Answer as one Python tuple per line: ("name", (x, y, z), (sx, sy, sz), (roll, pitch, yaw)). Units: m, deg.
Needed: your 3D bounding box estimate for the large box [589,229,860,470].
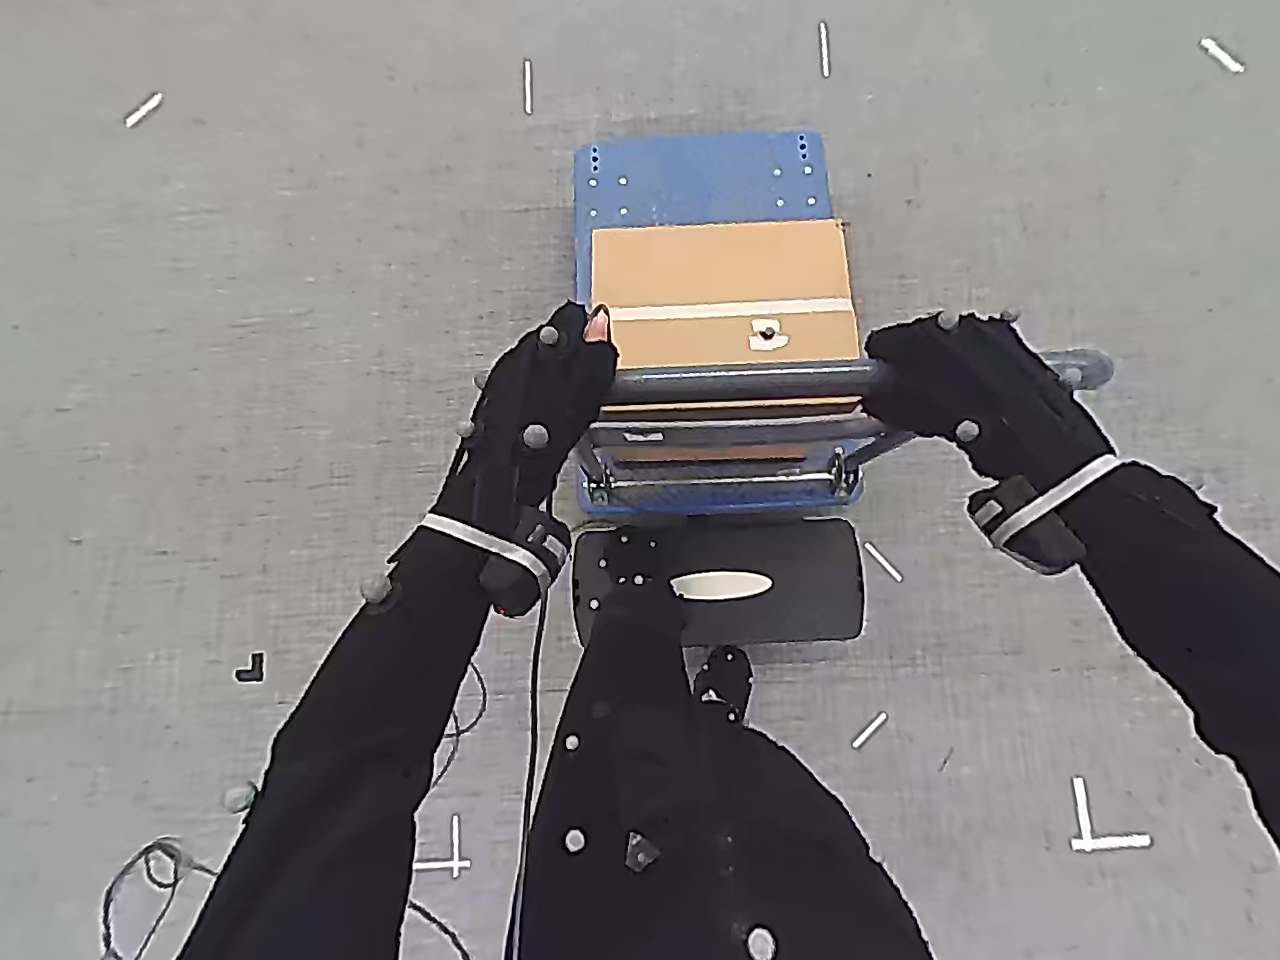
("large box", (0.124, -0.210, 0.977), (0.408, 0.320, 0.320), (-2, 78, 1))
